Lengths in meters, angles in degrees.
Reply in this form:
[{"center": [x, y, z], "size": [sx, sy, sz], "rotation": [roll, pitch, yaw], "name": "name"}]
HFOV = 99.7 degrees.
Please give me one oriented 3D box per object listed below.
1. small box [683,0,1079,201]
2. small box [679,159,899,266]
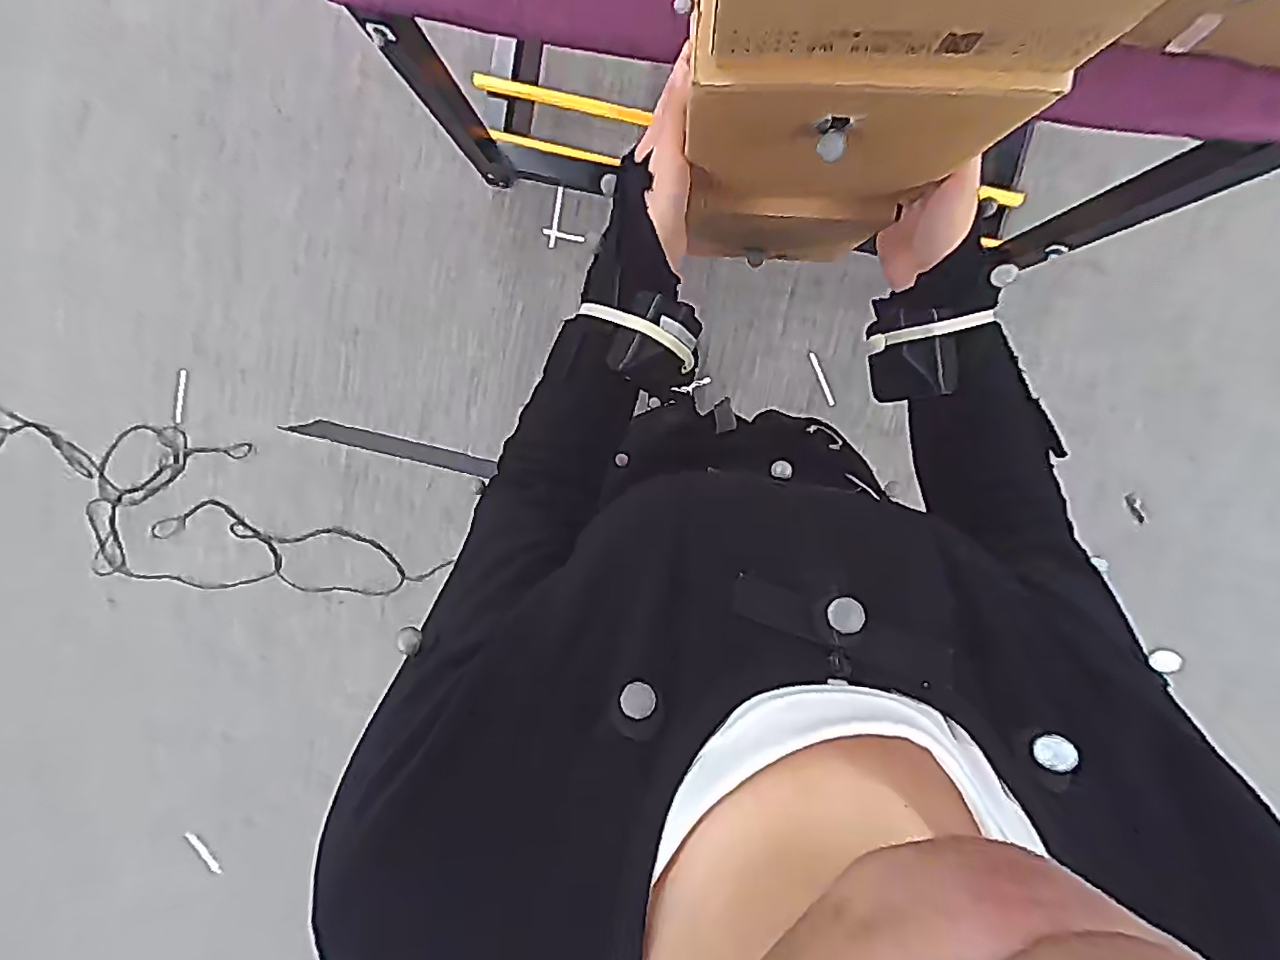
[{"center": [0.119, -0.277, 0.316], "size": [0.179, 0.176, 0.168], "rotation": [3, 102, 4], "name": "small box"}, {"center": [0.123, -0.301, 0.477], "size": [0.168, 0.176, 0.179], "rotation": [4, 102, 3], "name": "small box"}]
